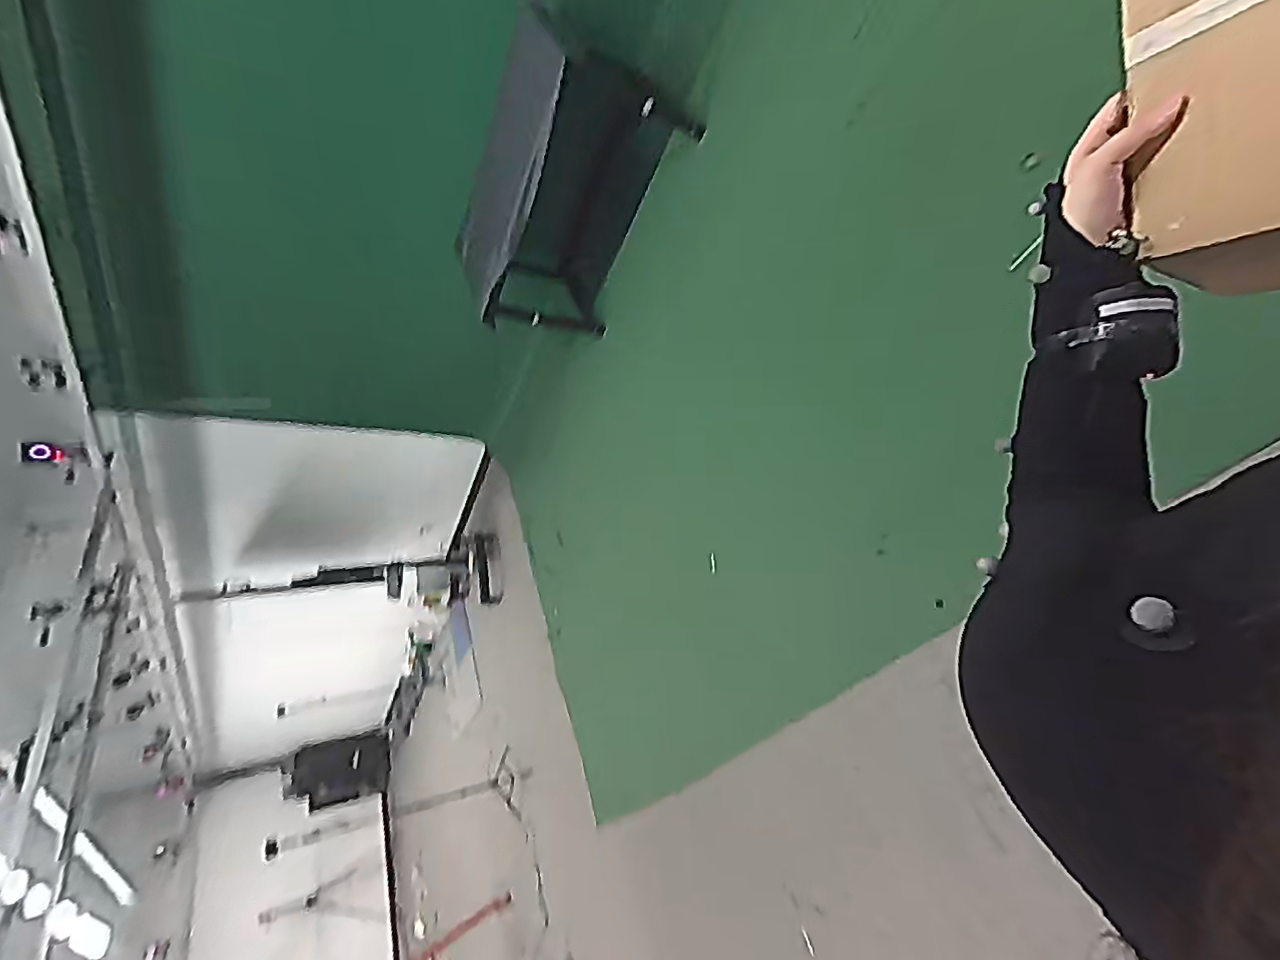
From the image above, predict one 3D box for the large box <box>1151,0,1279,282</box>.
[{"bbox_3d":[0.627,-0.342,0.327,0.408,0.320,0.320,2,97,58],"label":"large box"}]
